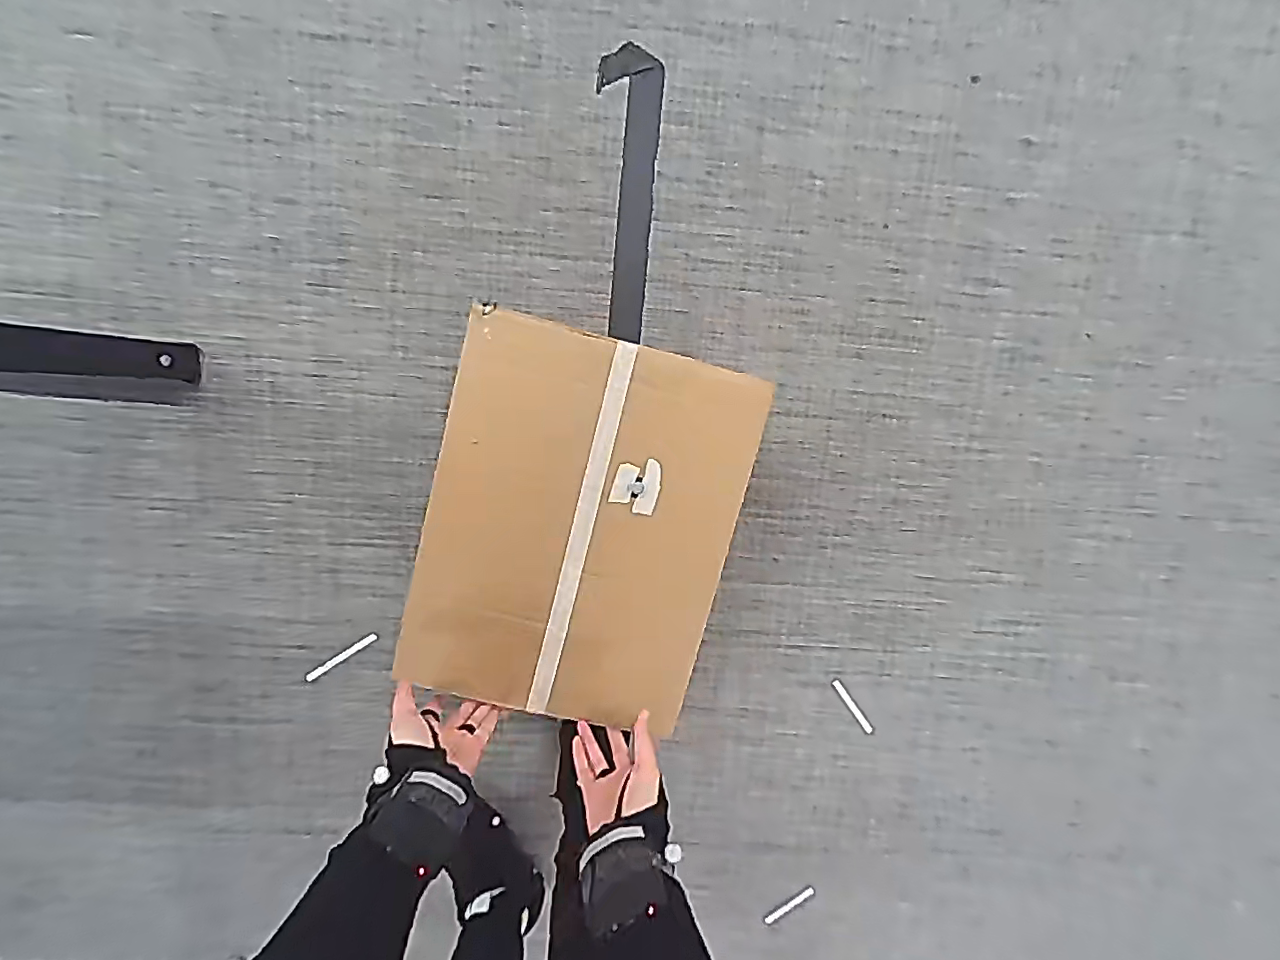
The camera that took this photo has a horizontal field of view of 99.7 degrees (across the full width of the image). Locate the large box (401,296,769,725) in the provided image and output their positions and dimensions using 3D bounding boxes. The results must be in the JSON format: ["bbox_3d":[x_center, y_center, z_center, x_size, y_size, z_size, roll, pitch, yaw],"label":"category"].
[{"bbox_3d":[-0.067,0.028,0.709,0.320,0.320,0.408,14,96,-5],"label":"large box"}]
